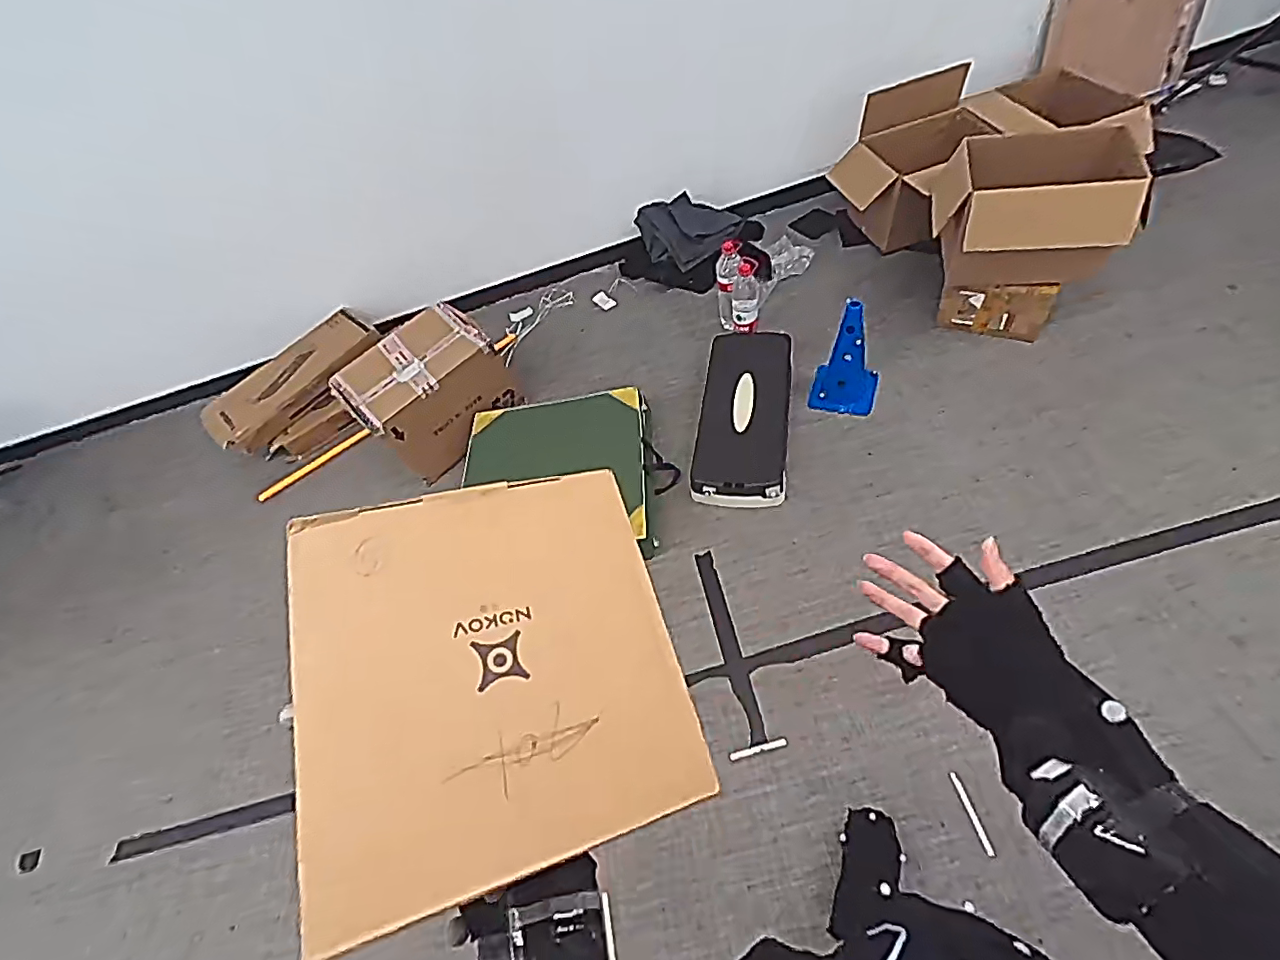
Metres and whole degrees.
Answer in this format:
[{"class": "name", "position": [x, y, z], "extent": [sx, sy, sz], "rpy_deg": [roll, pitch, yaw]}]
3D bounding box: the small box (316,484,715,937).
[{"class": "small box", "position": [-0.083, 0.127, 0.328], "extent": [0.168, 0.176, 0.179], "rpy_deg": [-9, 62, -21]}]
